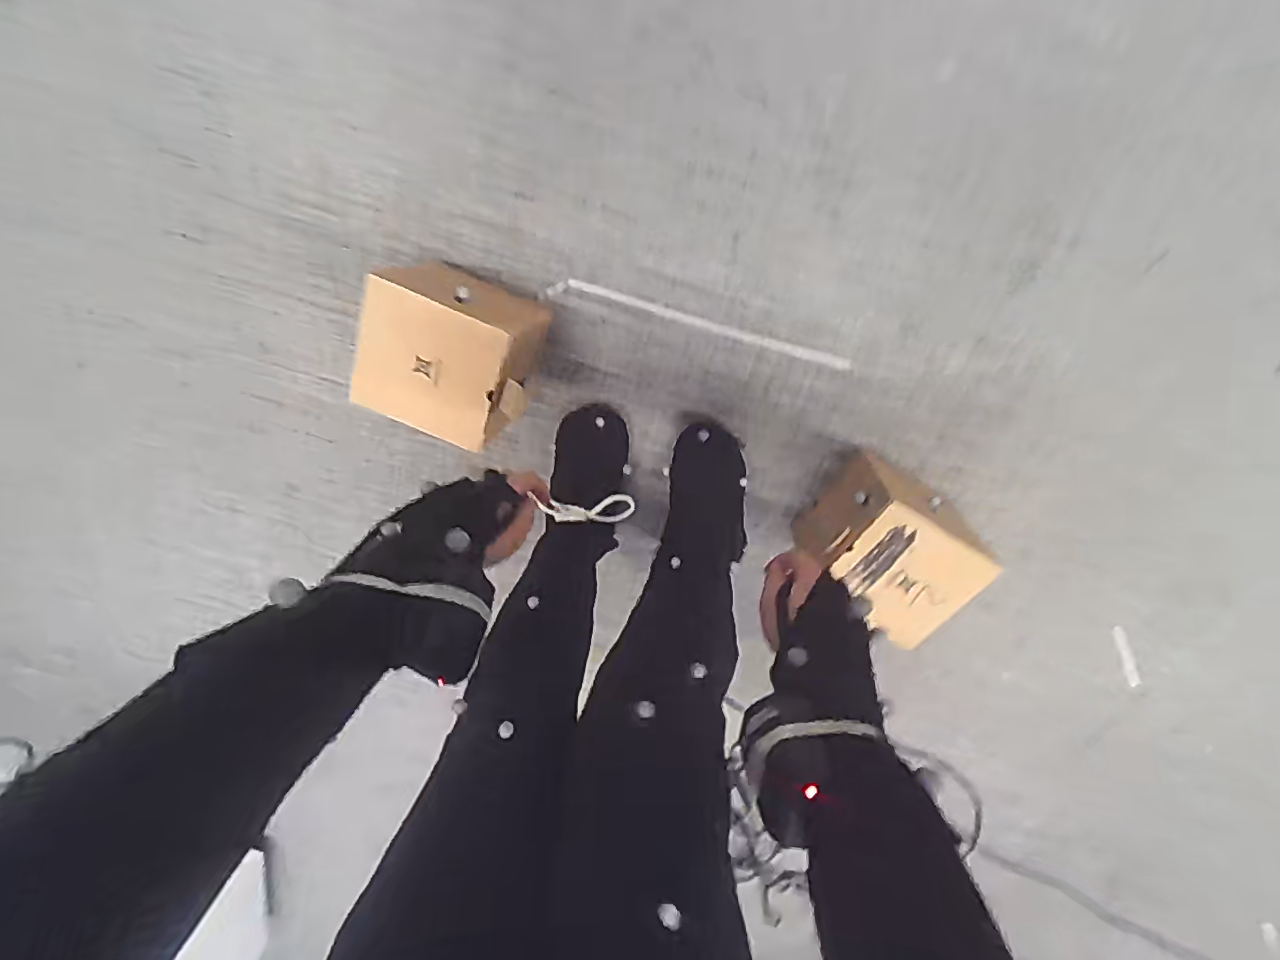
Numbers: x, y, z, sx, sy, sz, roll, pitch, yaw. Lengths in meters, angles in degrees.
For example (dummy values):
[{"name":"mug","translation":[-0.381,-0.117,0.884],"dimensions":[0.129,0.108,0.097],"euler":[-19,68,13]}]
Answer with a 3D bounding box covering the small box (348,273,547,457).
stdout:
[{"name":"small box","translation":[-0.245,-0.160,0.714],"dimensions":[0.179,0.176,0.168],"euler":[23,116,-4]}]
